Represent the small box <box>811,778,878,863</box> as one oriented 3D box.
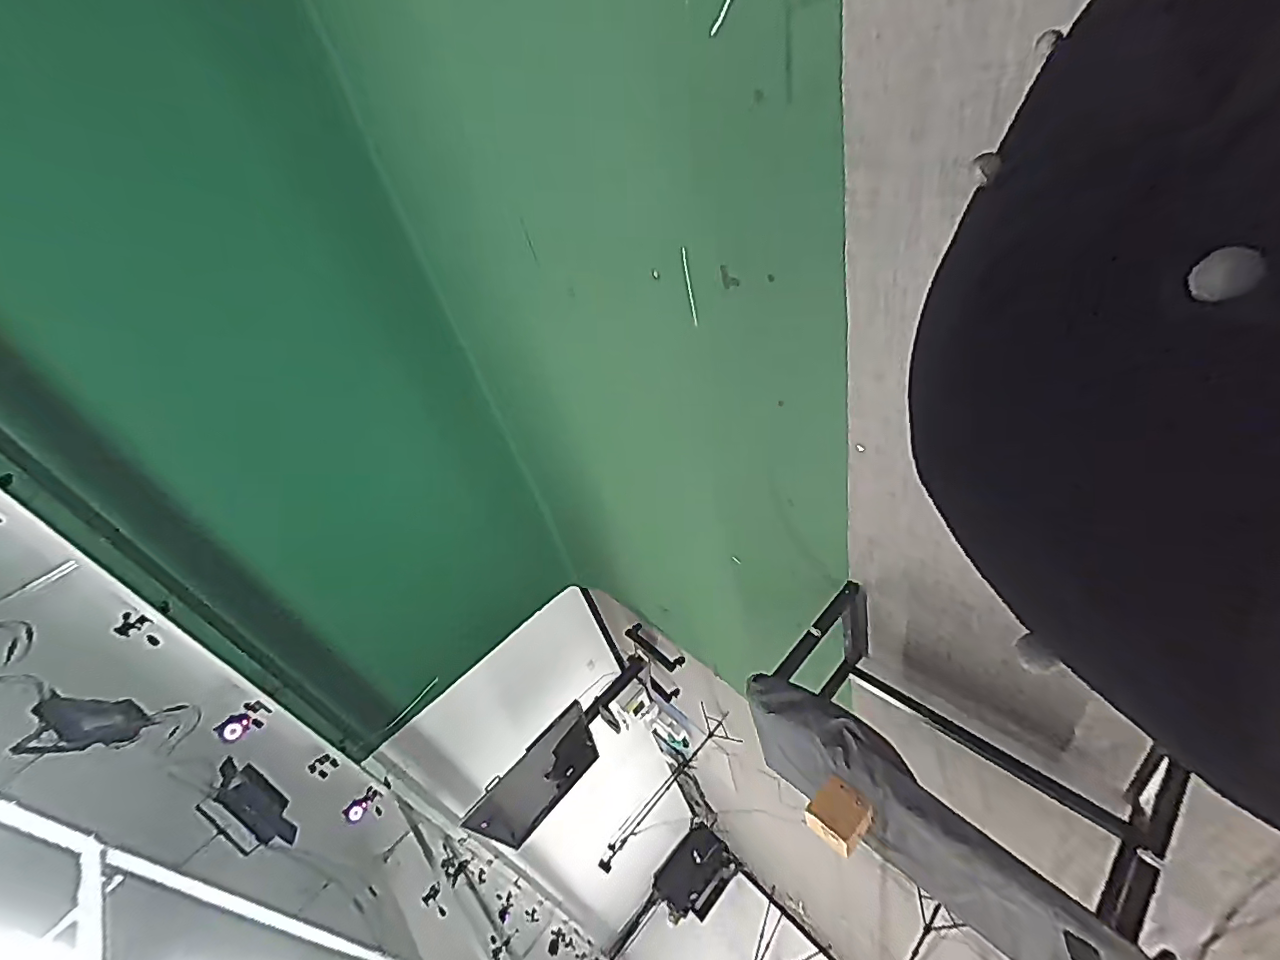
[{"bbox_3d":[0.731,1.207,1.929,0.168,0.176,0.179,25,146,42],"label":"small box"}]
